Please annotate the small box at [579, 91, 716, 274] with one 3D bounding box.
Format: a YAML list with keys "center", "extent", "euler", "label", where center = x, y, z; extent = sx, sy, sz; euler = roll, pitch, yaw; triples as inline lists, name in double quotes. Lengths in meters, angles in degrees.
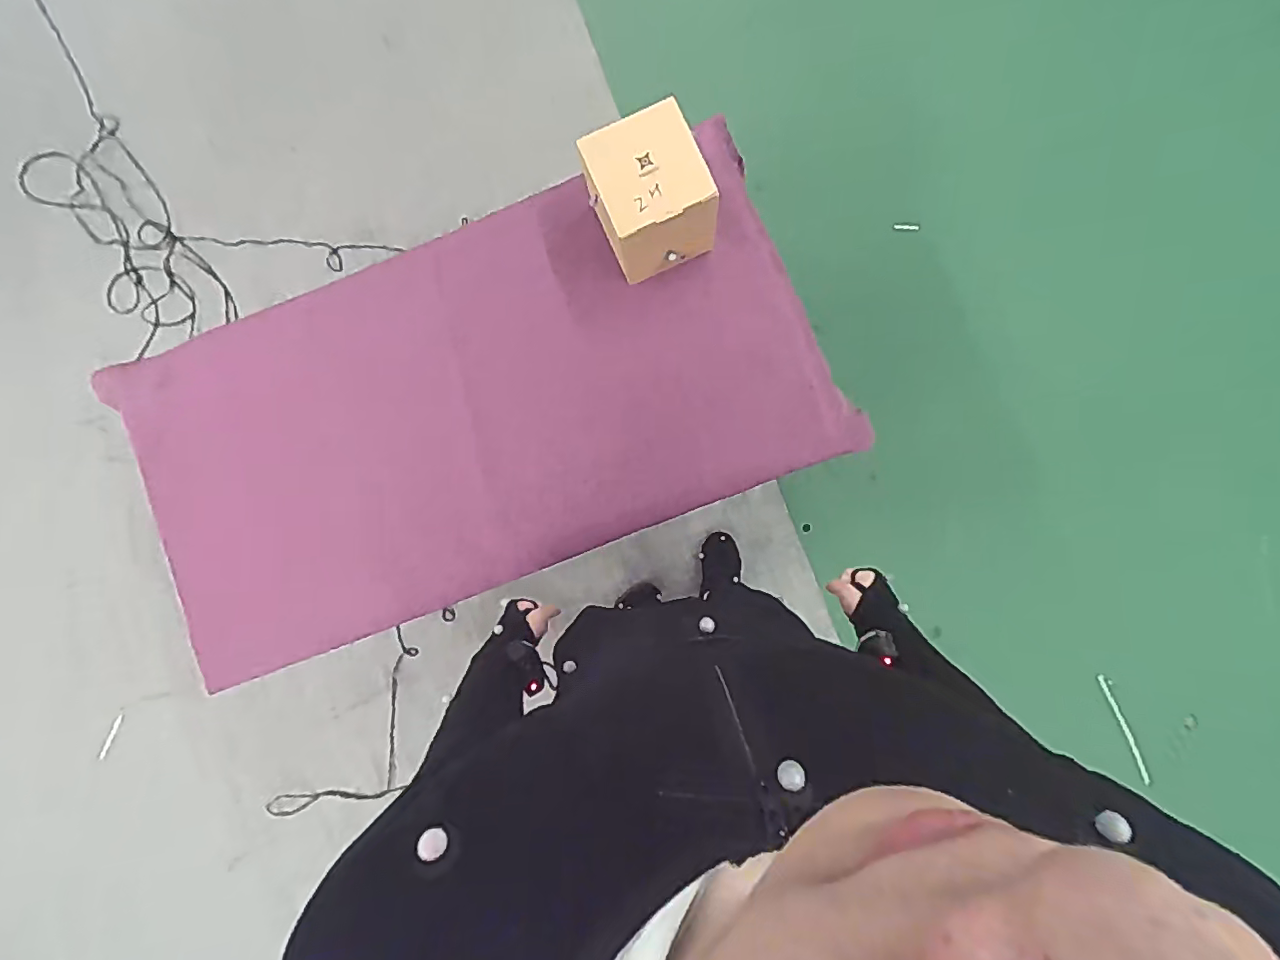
- center: [0.016, -0.481, 0.901]
  extent: [0.168, 0.176, 0.179]
  euler: [-23, 85, 4]
  label: "small box"
